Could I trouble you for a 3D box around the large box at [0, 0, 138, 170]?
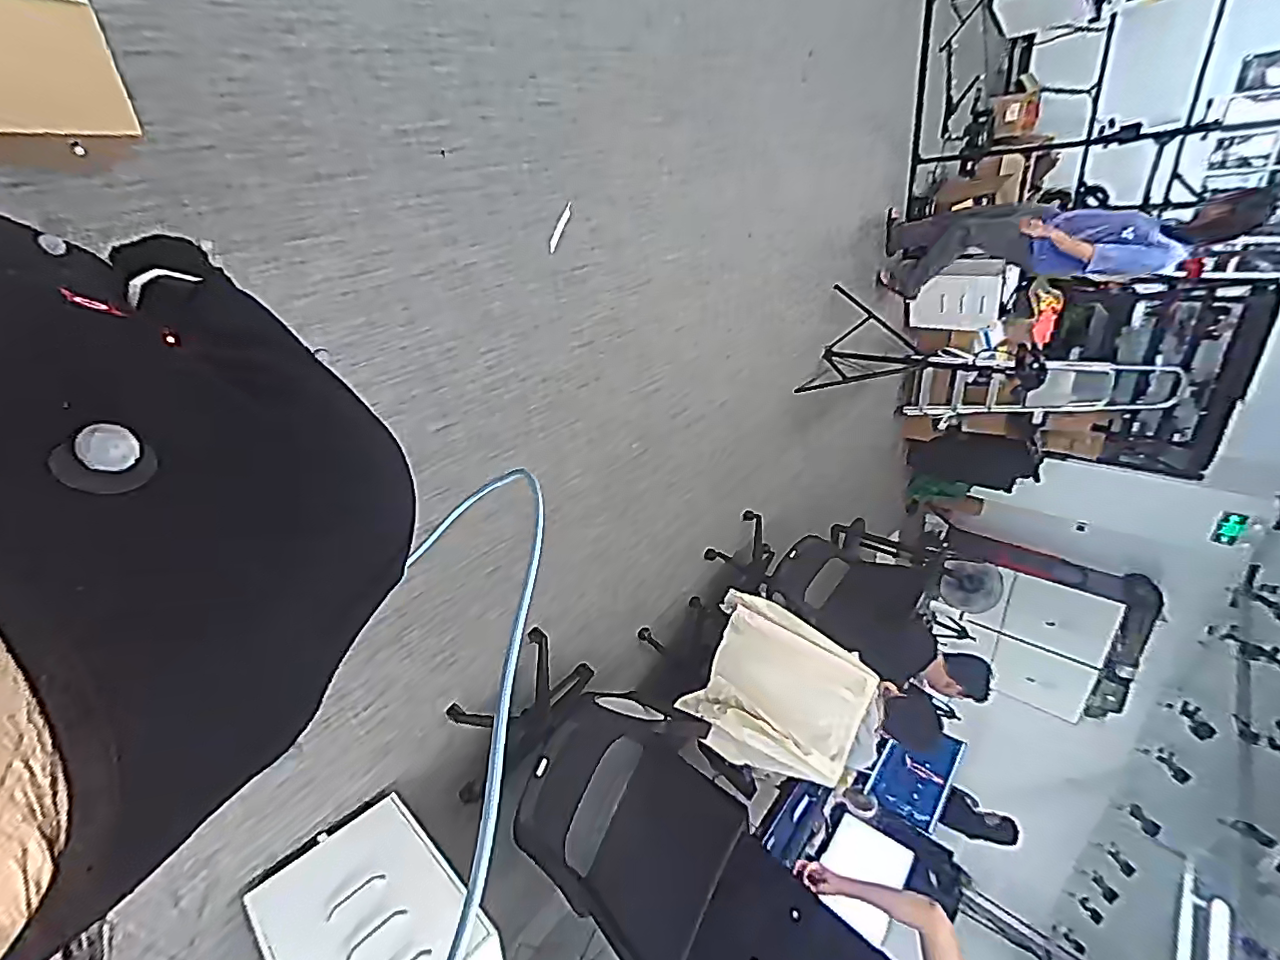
[{"bbox_3d":[-0.960,-0.568,0.663,0.408,0.320,0.320,-30,124,-40],"label":"large box"}]
